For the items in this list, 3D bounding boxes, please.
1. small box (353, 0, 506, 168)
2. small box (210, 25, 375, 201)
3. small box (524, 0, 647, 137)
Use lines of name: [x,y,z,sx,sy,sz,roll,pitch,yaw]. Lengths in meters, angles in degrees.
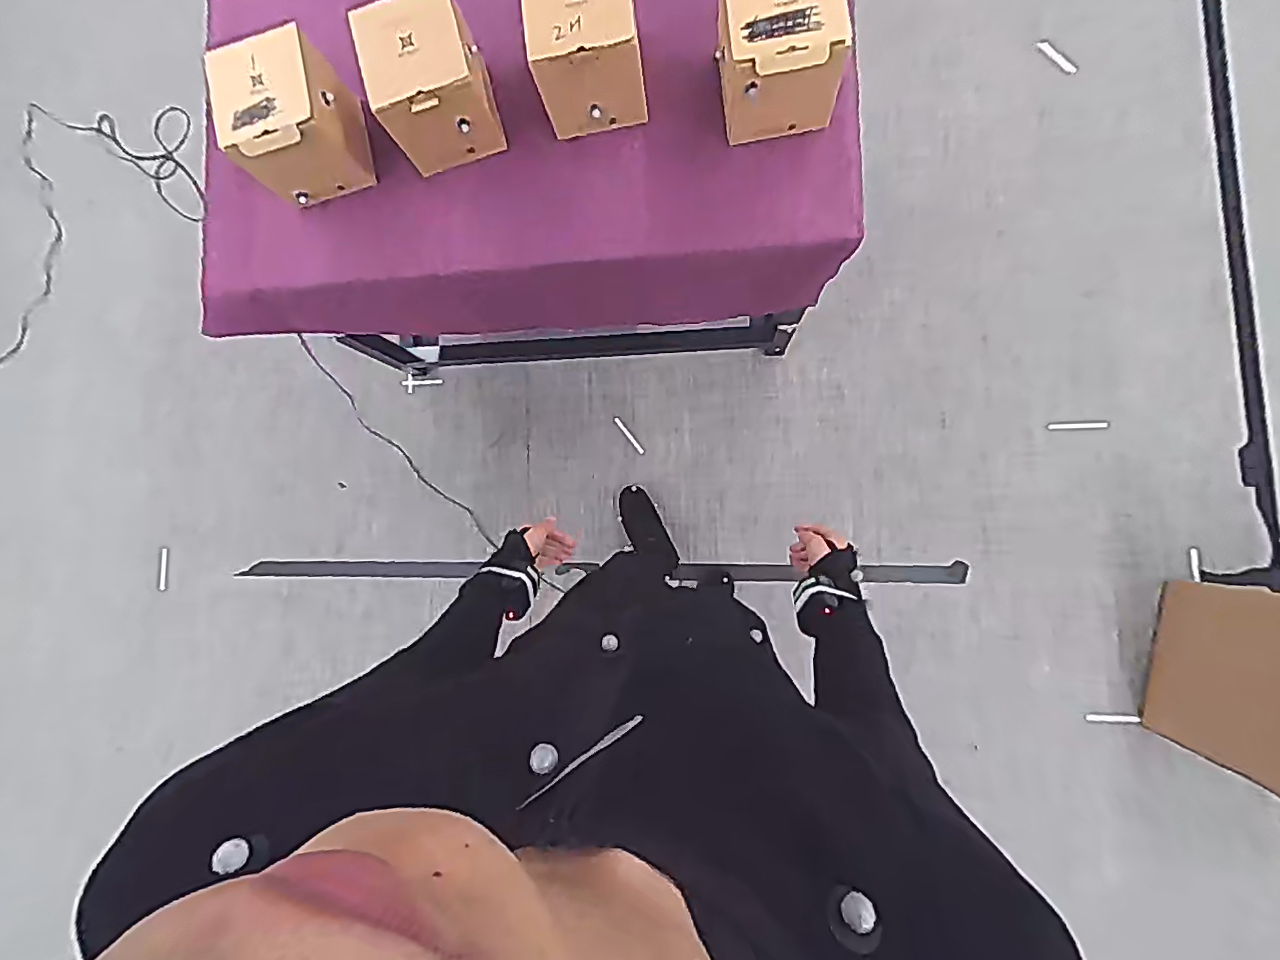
small box: [-0.345,-0.665,0.916,0.168,0.176,0.179,-15,84,5]
small box: [-0.590,-0.617,0.939,0.168,0.176,0.179,-14,84,5]
small box: [-0.085,-0.710,0.886,0.168,0.176,0.179,-7,86,7]
